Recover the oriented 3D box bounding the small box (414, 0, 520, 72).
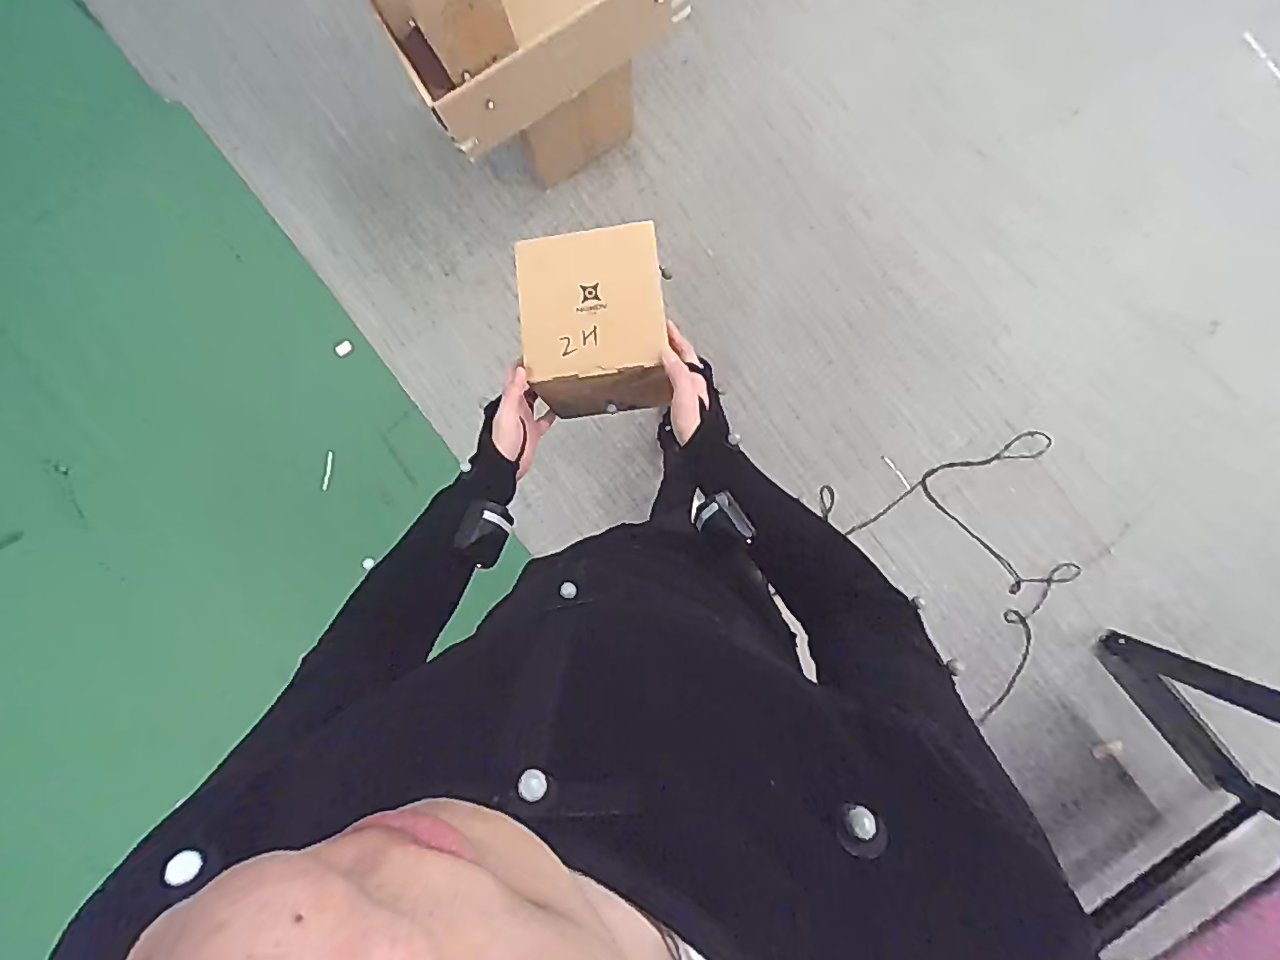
[{"bbox_3d":[-0.371,-0.990,1.107,0.168,0.176,0.179,-31,90,4],"label":"small box"}]

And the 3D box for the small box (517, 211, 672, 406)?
[{"bbox_3d":[-0.050,-0.208,0.700,0.168,0.176,0.179,-6,82,6],"label":"small box"}]
